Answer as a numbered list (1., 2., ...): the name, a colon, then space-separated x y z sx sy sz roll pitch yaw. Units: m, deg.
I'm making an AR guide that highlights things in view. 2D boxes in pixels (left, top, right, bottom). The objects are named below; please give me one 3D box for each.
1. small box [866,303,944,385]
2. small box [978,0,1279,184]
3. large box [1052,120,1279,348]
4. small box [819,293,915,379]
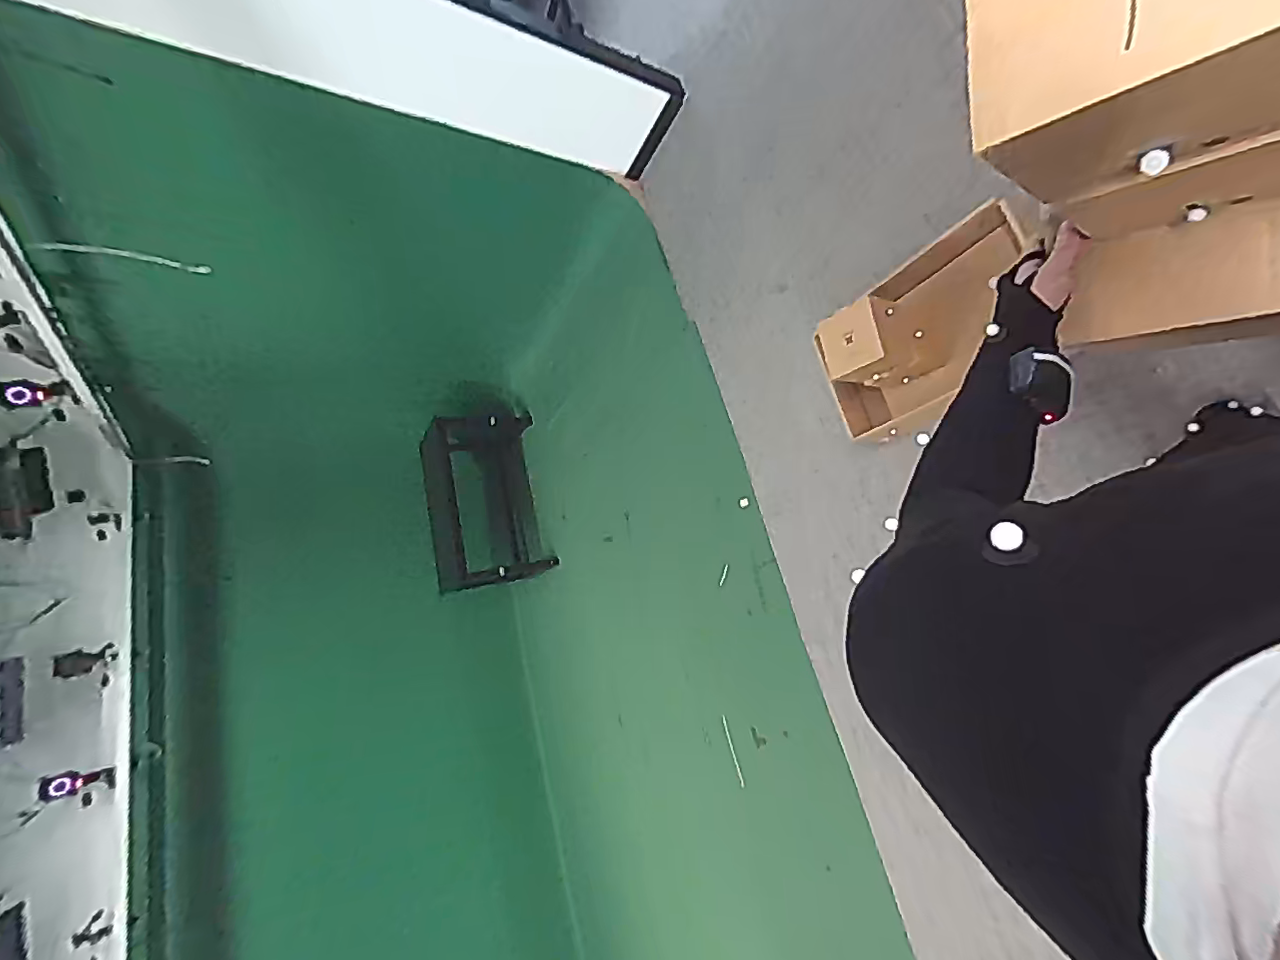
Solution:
1. small box: 0.767 -0.397 1.608 0.168 0.176 0.179 -28 71 50
2. small box: 0.333 -0.321 0.339 0.168 0.176 0.179 1 98 51
3. large box: 0.697 -0.332 0.541 0.408 0.320 0.320 -1 96 50
4. small box: 0.635 -0.394 1.512 0.168 0.176 0.179 -23 76 52
